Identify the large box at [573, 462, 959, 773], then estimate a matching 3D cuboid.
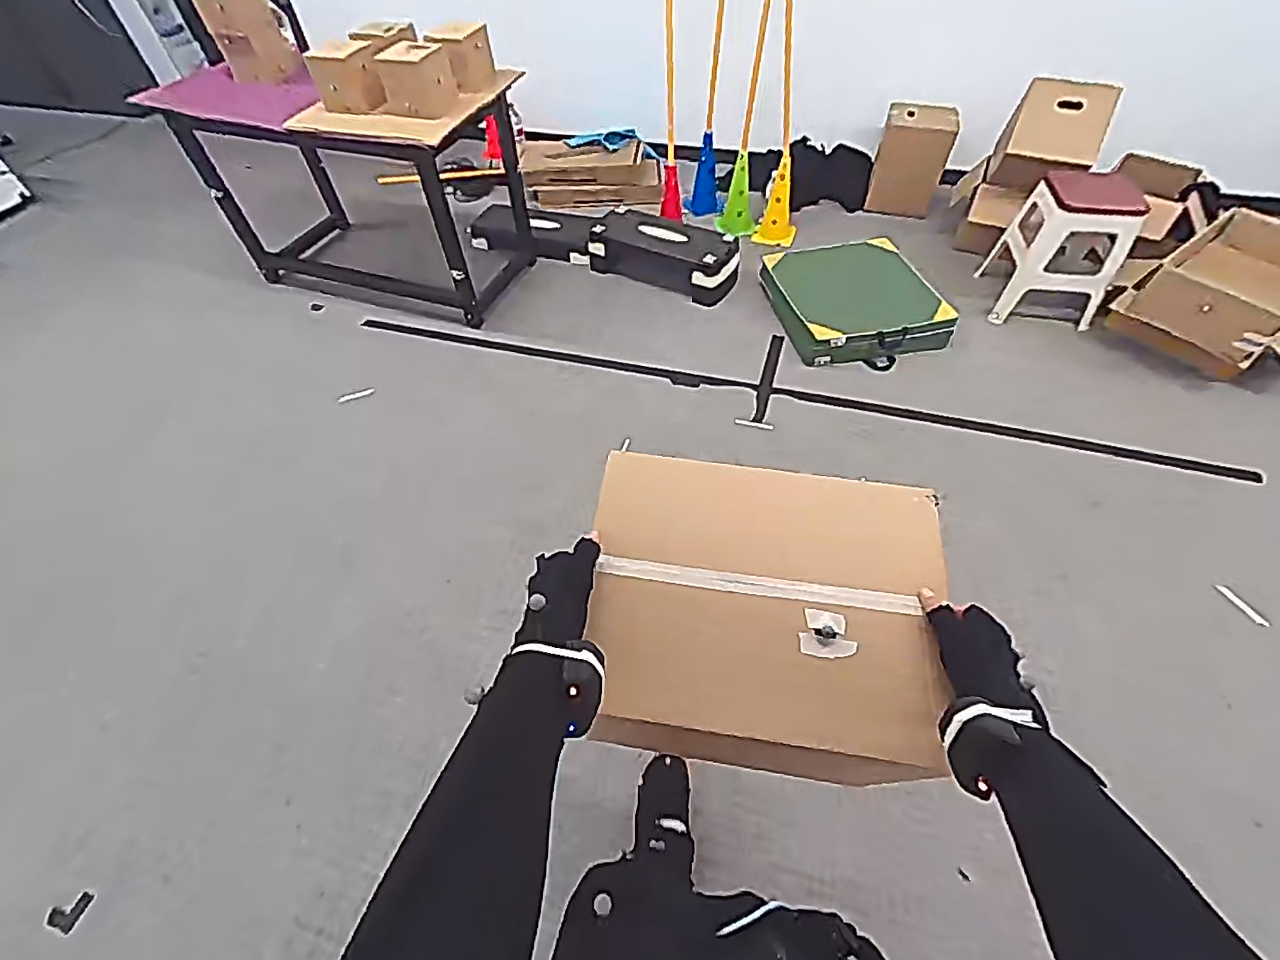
[{"bbox_3d":[0.142,0.202,0.754,0.408,0.320,0.320,7,60,4],"label":"large box"}]
